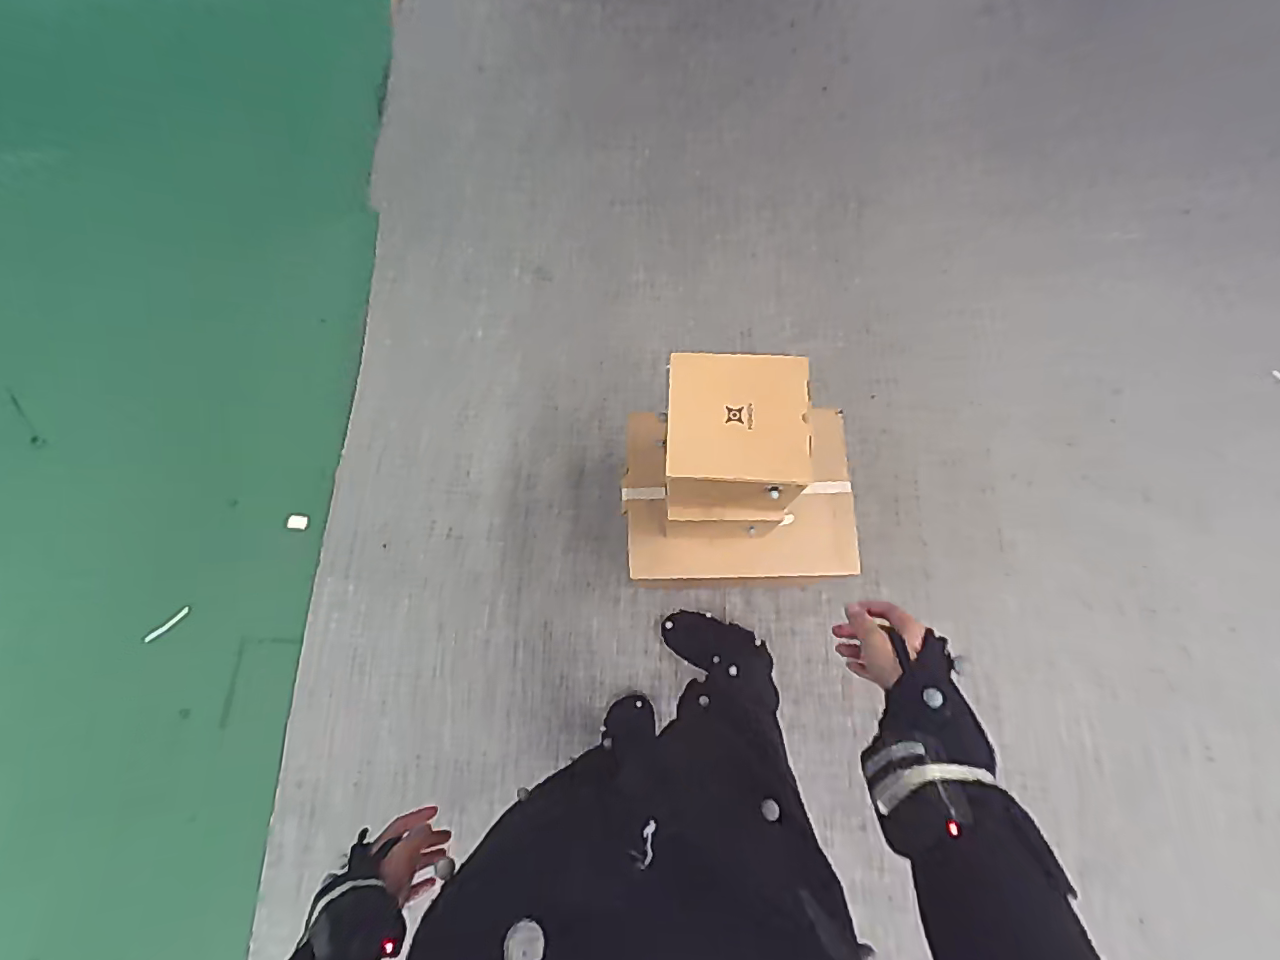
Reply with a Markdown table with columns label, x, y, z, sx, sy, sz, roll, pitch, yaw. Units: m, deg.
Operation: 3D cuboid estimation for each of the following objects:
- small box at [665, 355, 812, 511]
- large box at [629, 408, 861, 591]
| label | x | y | z | sx | sy | sz | roll | pitch | yaw |
| --- | --- | --- | --- | --- | --- | --- | --- | --- | --- |
| small box | 0.125 | -0.056 | 0.739 | 0.179 | 0.176 | 0.168 | 2 | 75 | 3 |
| large box | 0.187 | 0.059 | 1.127 | 0.408 | 0.320 | 0.320 | -2 | 76 | 2 |
